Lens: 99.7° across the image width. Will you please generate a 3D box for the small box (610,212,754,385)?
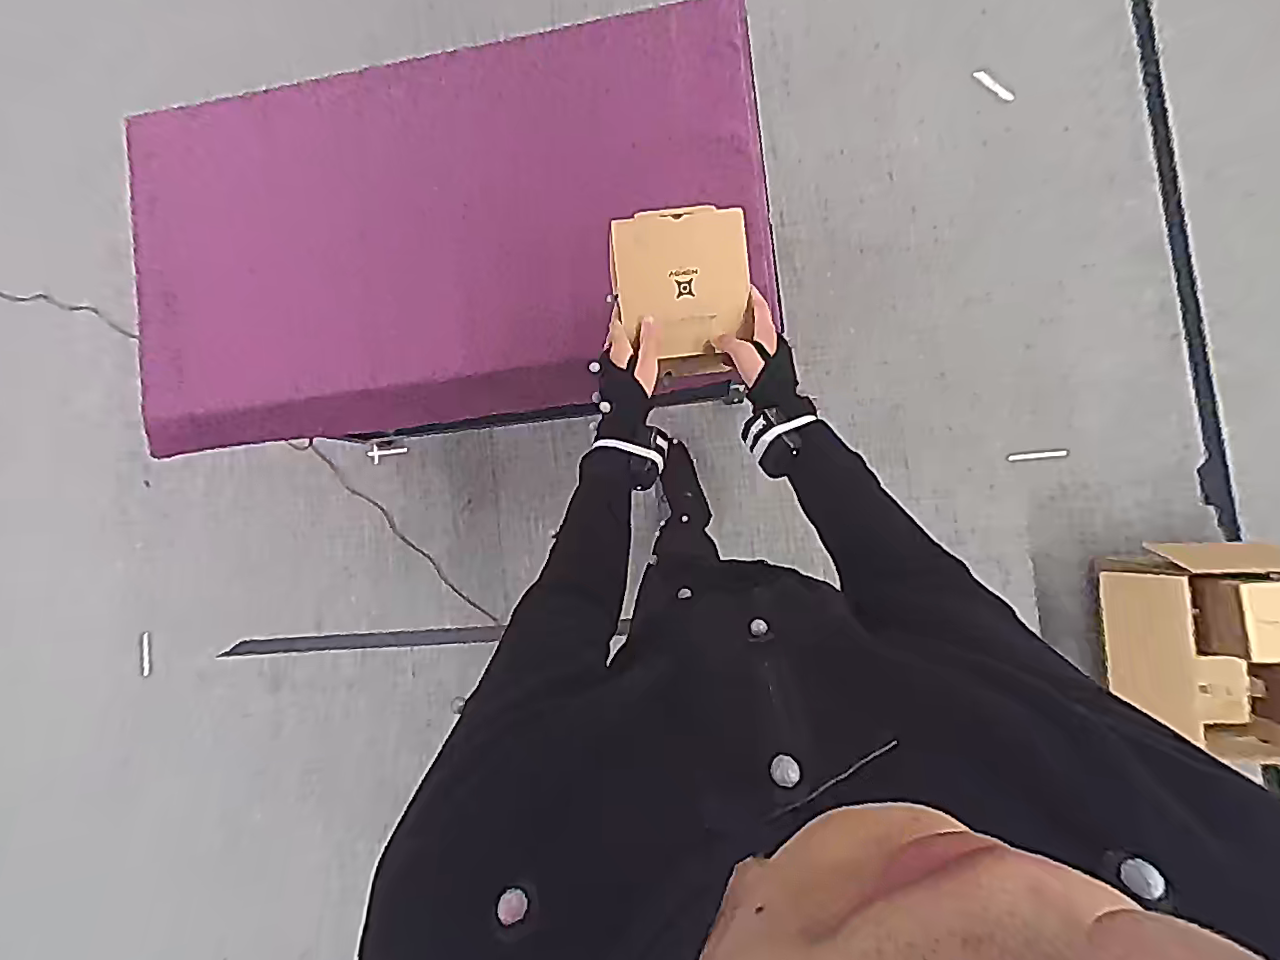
[{"bbox_3d":[0.048,-0.237,0.744,0.168,0.176,0.179,-7,92,-2],"label":"small box"}]
